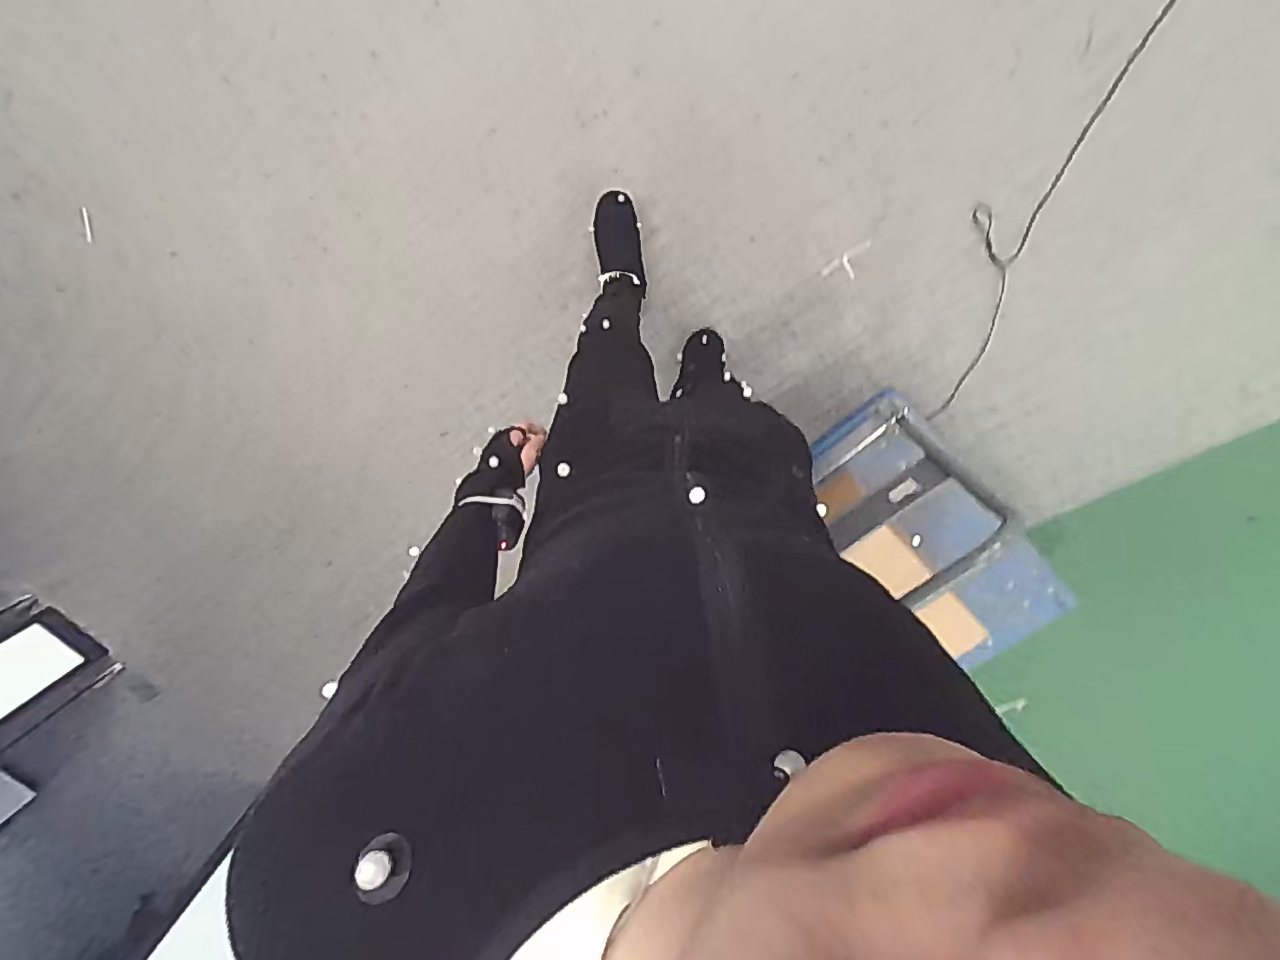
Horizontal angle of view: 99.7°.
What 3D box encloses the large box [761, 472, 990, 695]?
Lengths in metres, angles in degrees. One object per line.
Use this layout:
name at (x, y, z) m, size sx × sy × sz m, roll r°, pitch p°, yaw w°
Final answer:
large box at (0.573, 0.254, 1.388) m, size 0.408 × 0.320 × 0.320 m, roll 43°, pitch 111°, yaw -13°
